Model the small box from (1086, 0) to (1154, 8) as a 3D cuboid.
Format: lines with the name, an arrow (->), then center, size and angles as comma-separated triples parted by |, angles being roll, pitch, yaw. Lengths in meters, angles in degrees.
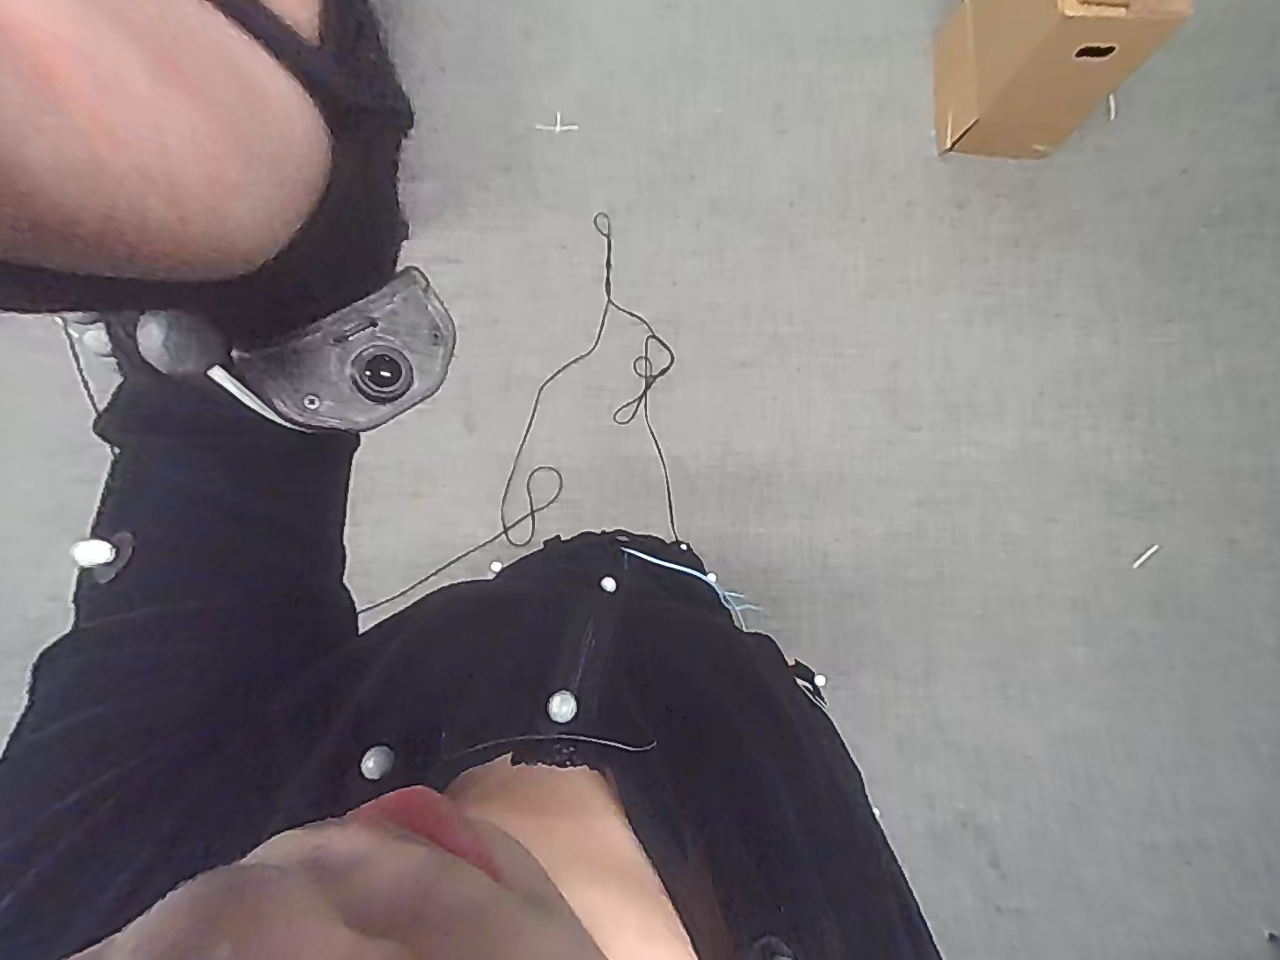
small box -> 1.077, -1.162, 1.154 | 0.179, 0.176, 0.168 | 4, 81, -1
